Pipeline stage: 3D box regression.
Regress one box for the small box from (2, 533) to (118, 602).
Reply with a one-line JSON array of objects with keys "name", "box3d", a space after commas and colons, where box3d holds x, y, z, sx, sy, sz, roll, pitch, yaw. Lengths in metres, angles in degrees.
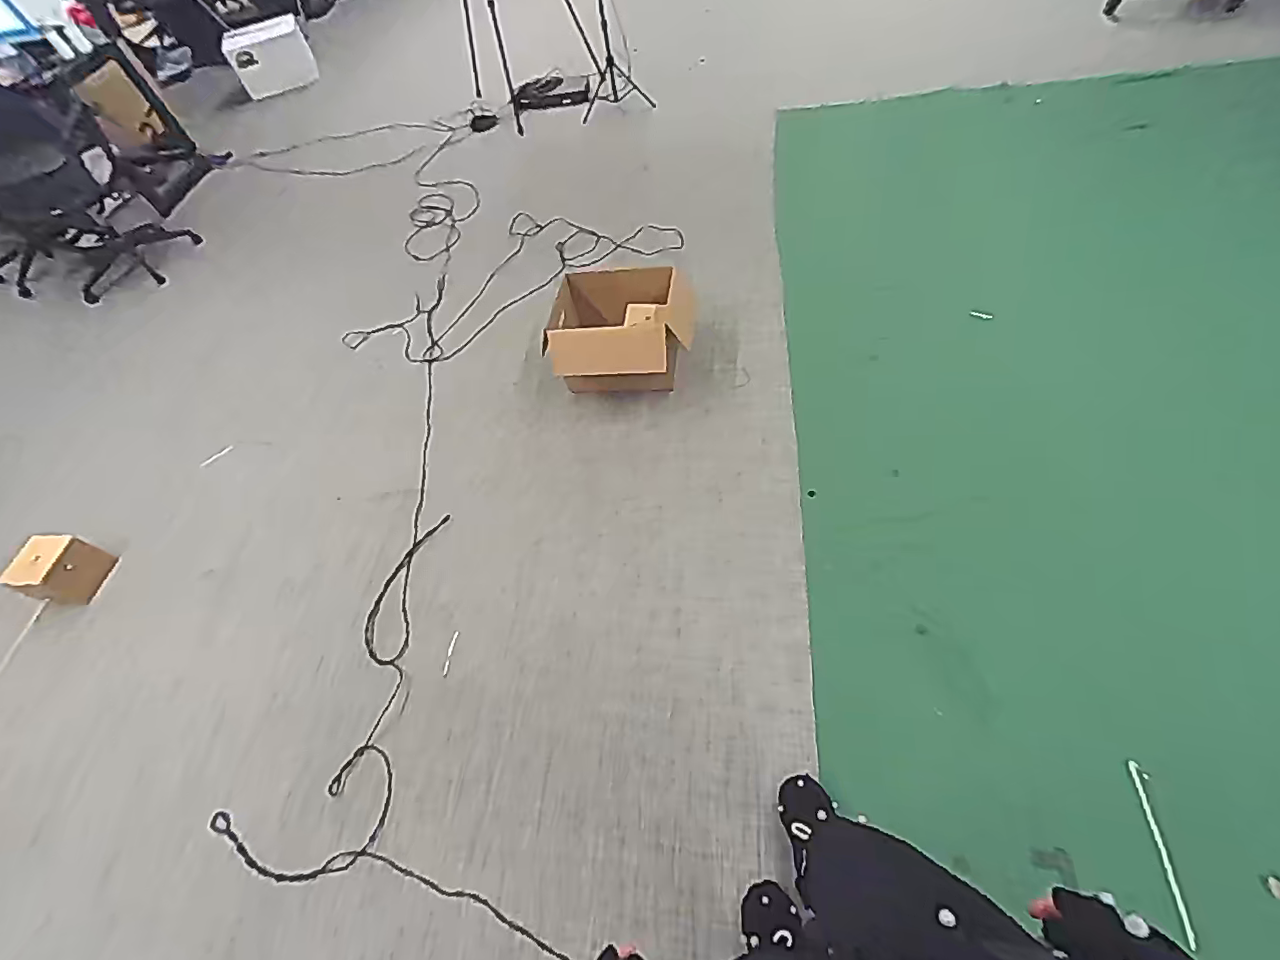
[{"name": "small box", "box3d": [-1.921, 0.292, 1.807, 0.168, 0.176, 0.179, -1, 58, 9]}]
